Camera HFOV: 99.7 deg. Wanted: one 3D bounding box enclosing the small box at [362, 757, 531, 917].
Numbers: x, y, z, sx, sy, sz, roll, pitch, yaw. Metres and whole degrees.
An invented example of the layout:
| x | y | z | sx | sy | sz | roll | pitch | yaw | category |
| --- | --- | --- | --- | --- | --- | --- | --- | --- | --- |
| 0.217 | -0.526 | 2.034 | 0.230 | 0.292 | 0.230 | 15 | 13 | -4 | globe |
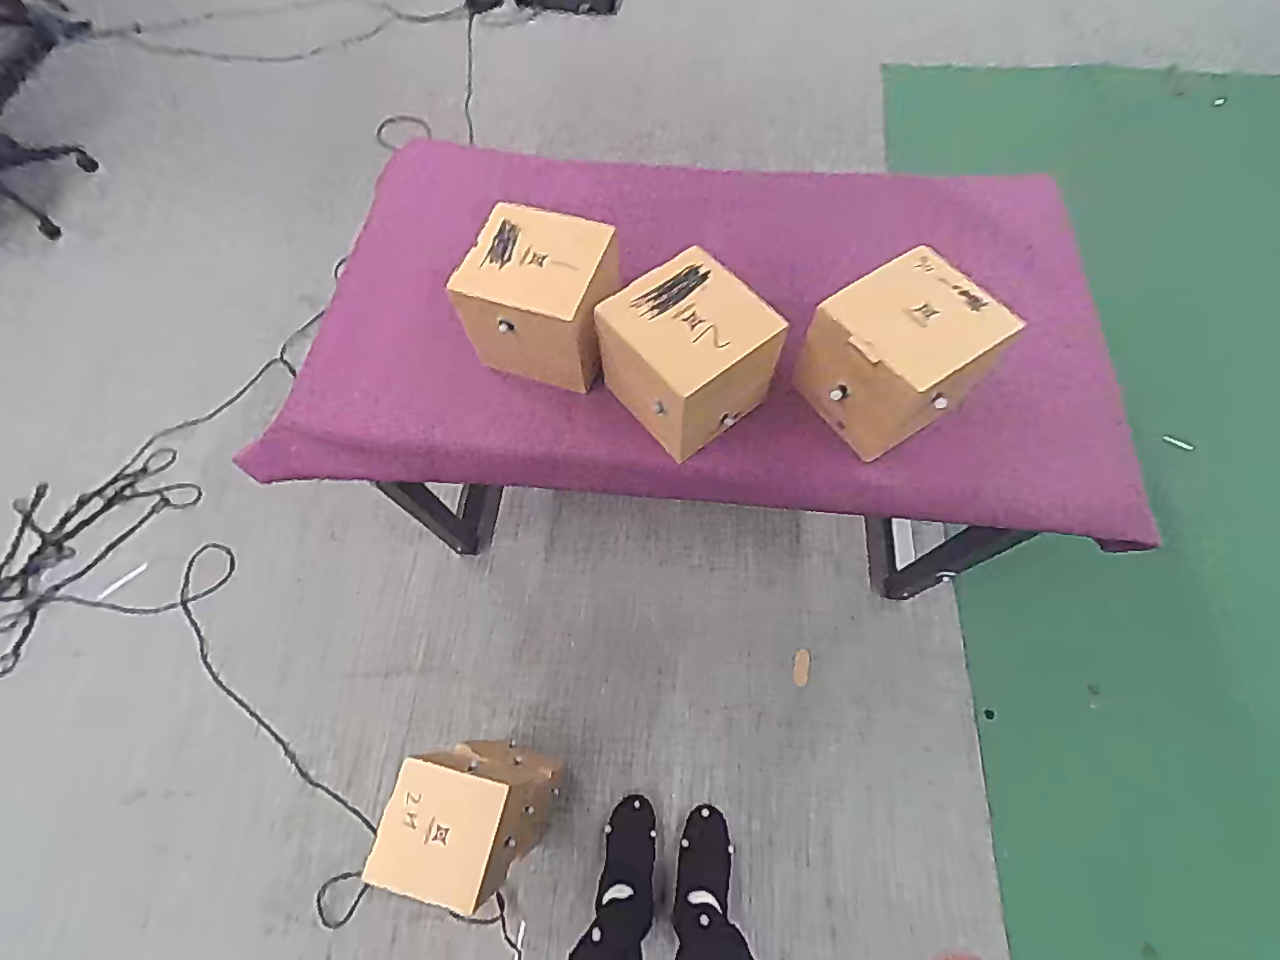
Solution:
| x | y | z | sx | sy | sz | roll | pitch | yaw | category |
| --- | --- | --- | --- | --- | --- | --- | --- | --- | --- |
| -0.291 | 0.552 | 0.864 | 0.179 | 0.176 | 0.168 | 11 | 65 | 8 | small box |

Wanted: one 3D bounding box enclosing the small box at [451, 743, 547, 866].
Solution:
| x | y | z | sx | sy | sz | roll | pitch | yaw | category |
| --- | --- | --- | --- | --- | --- | --- | --- | --- | --- |
| -0.294 | 0.618 | 1.015 | 0.168 | 0.176 | 0.179 | 23 | 68 | 13 | small box |

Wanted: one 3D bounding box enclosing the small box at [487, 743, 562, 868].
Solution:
| x | y | z | sx | sy | sz | roll | pitch | yaw | category |
| --- | --- | --- | --- | --- | --- | --- | --- | --- | --- |
| -0.280 | 0.684 | 1.162 | 0.168 | 0.176 | 0.179 | 18 | 68 | 10 | small box |

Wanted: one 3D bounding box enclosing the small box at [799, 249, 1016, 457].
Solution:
| x | y | z | sx | sy | sz | roll | pitch | yaw | category |
| --- | --- | --- | --- | --- | --- | --- | --- | --- | --- |
| 0.333 | -0.160 | 0.721 | 0.179 | 0.176 | 0.168 | -31 | 67 | -11 | small box |
